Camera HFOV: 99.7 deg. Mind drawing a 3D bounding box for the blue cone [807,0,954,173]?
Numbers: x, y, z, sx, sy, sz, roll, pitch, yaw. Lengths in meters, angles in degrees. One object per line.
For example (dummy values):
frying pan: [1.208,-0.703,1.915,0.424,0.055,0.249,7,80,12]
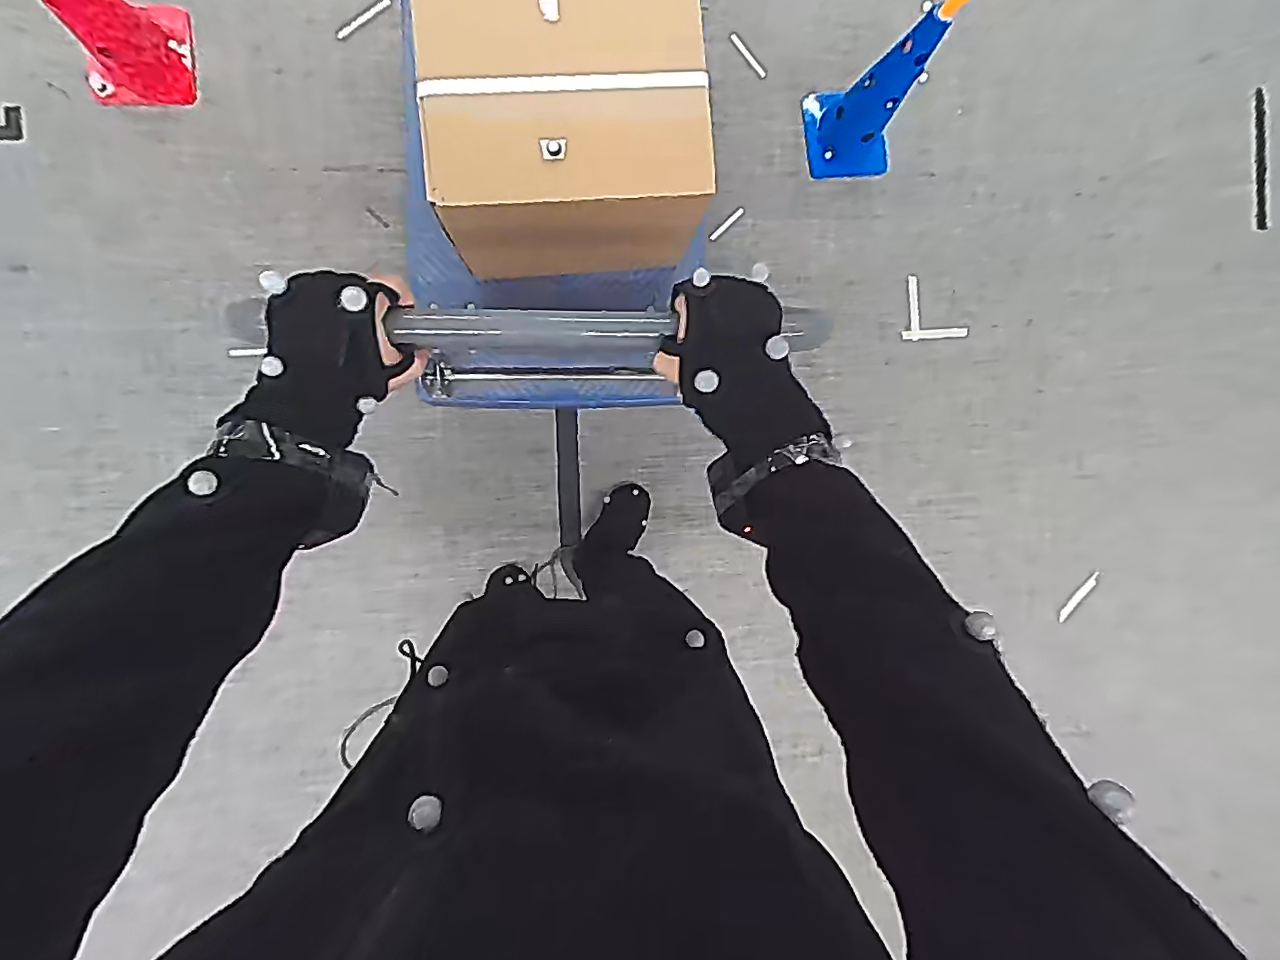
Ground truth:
blue cone: [0.516,-0.831,1.130,0.193,0.380,0.192,-6,92,-7]
